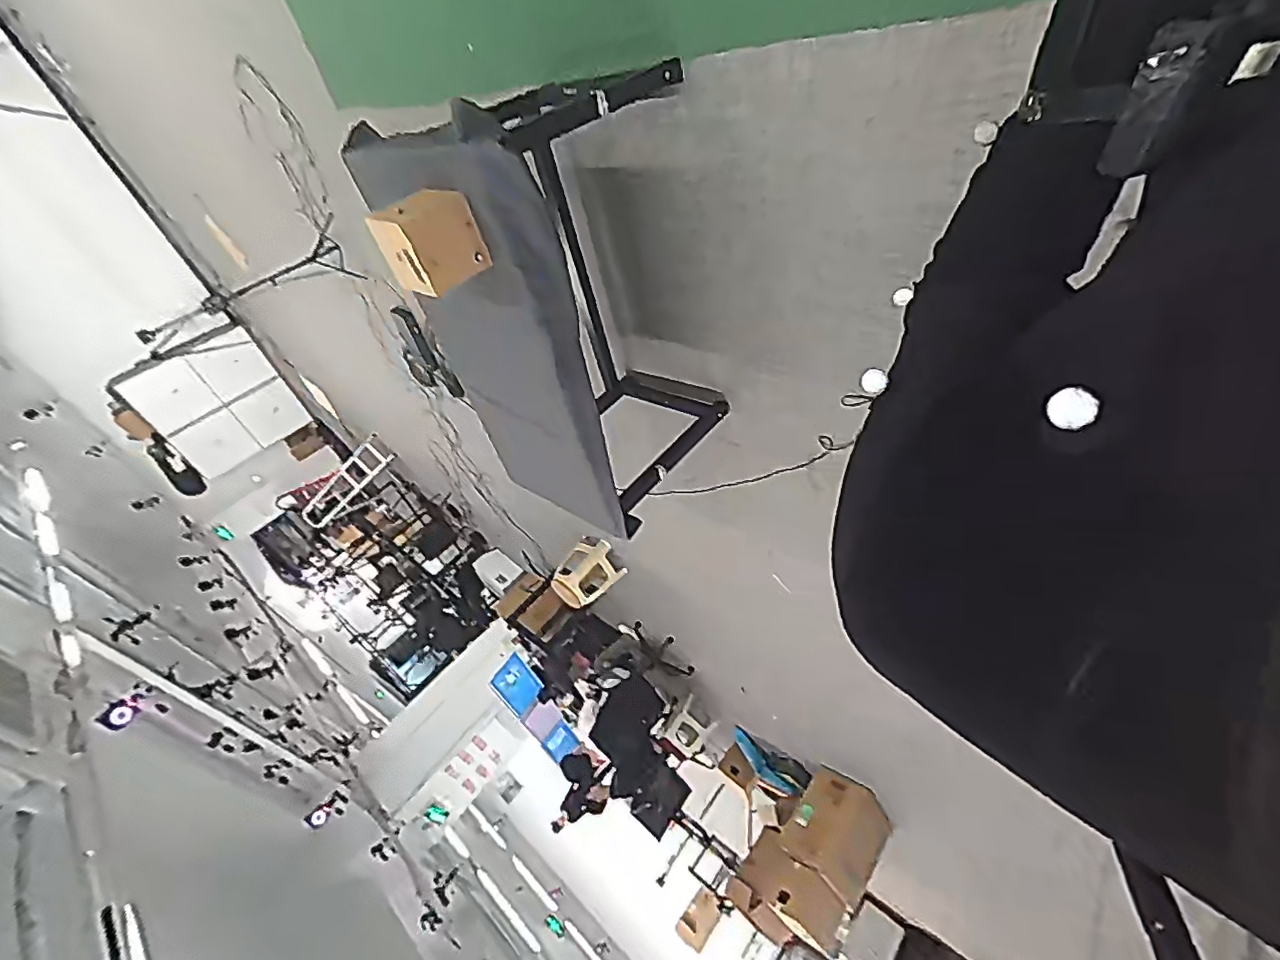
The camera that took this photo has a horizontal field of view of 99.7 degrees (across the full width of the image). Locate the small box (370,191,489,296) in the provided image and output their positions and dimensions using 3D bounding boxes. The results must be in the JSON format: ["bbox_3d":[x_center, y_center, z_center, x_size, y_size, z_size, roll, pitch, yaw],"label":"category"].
[{"bbox_3d":[-0.473,-0.550,1.247,0.179,0.176,0.168,26,147,37],"label":"small box"}]
